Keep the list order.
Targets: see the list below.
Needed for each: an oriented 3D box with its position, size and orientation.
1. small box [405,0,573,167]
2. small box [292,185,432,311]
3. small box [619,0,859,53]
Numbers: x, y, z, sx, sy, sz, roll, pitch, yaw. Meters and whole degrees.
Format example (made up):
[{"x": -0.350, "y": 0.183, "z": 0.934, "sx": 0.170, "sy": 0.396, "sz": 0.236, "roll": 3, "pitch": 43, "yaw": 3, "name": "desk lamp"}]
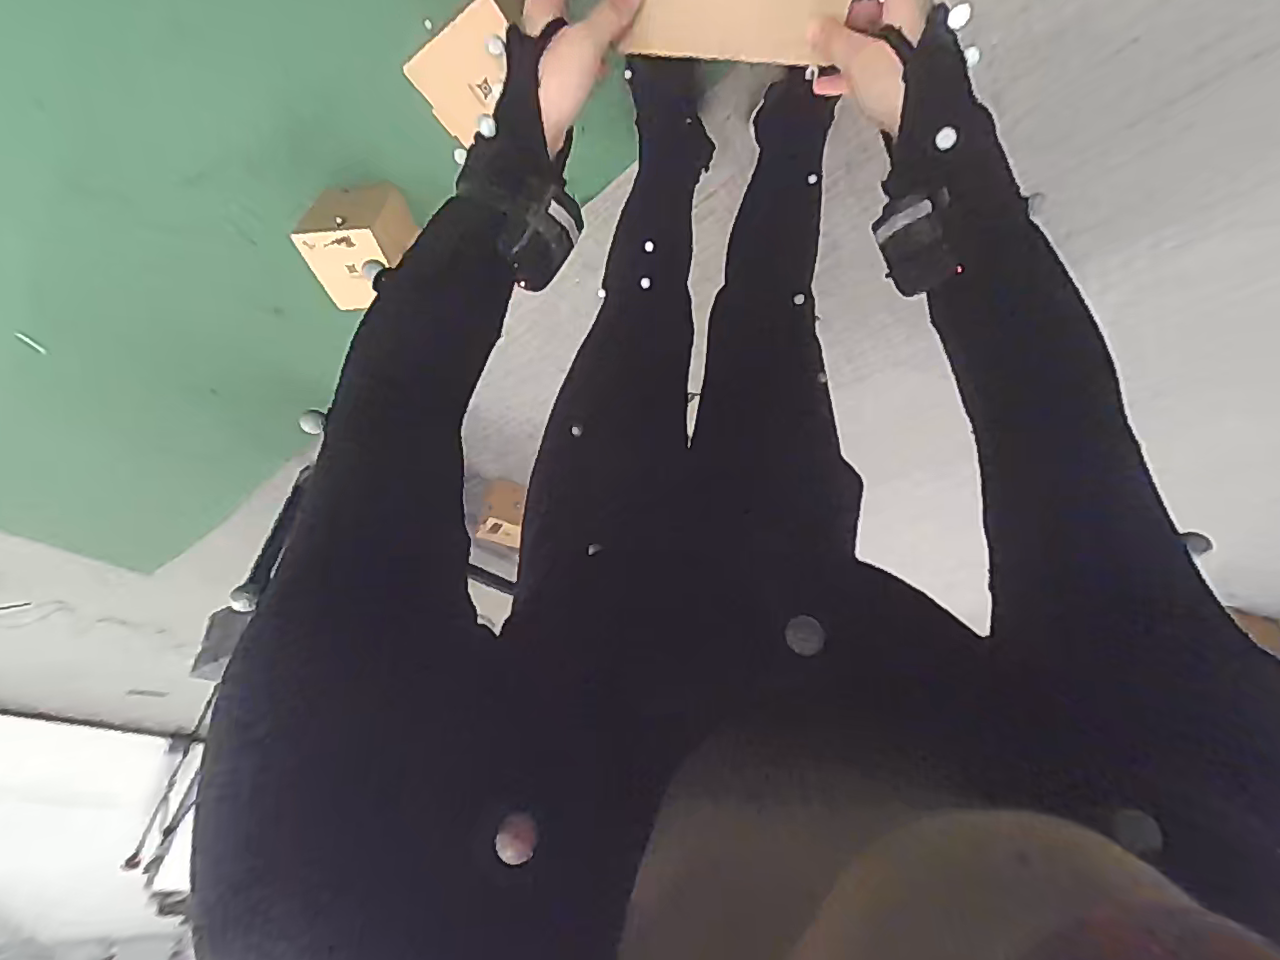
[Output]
[{"x": -0.221, "y": -0.639, "z": 0.837, "sx": 0.179, "sy": 0.176, "sz": 0.168, "roll": -18, "pitch": 141, "yaw": 26, "name": "small box"}, {"x": -0.553, "y": -0.472, "z": 1.107, "sx": 0.168, "sy": 0.176, "sz": 0.179, "roll": -1, "pitch": 146, "yaw": 7, "name": "small box"}, {"x": 0.074, "y": -0.443, "z": 0.384, "sx": 0.179, "sy": 0.176, "sz": 0.168, "roll": 0, "pitch": 149, "yaw": -5, "name": "small box"}]
